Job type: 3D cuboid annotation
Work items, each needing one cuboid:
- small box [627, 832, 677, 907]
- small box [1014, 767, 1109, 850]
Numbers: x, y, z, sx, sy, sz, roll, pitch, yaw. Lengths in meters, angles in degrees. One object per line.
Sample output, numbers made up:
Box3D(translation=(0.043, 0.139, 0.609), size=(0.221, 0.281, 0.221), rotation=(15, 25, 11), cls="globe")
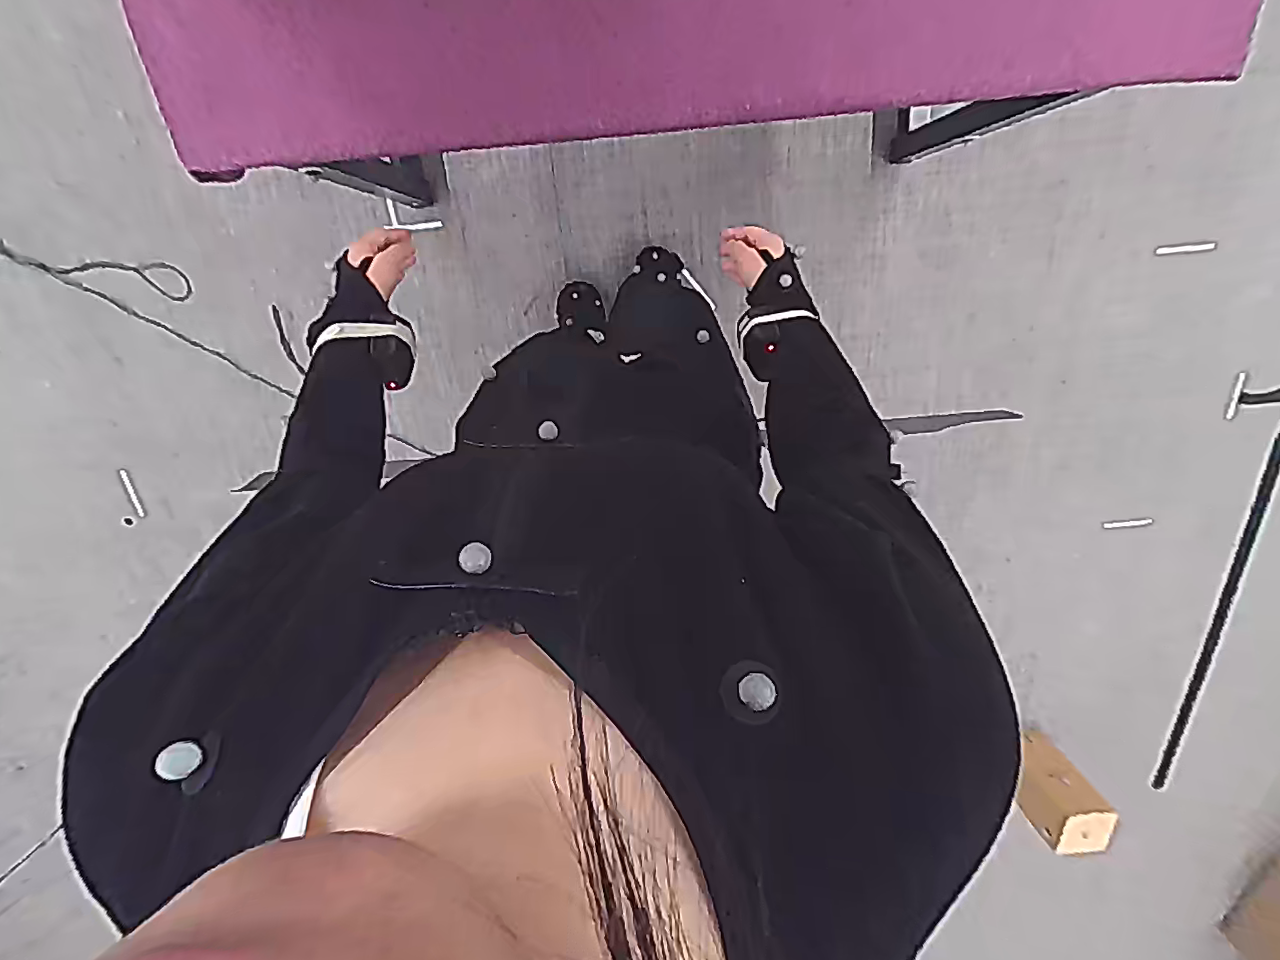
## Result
Box3D(translation=(0.042, 1.465, 2.049), size=(0.168, 0.176, 0.179), rotation=(-8, 113, 0), cls="small box")
Box3D(translation=(1.395, 1.094, 1.806), size=(0.168, 0.176, 0.179), rotation=(-2, 111, -3), cls="small box")
